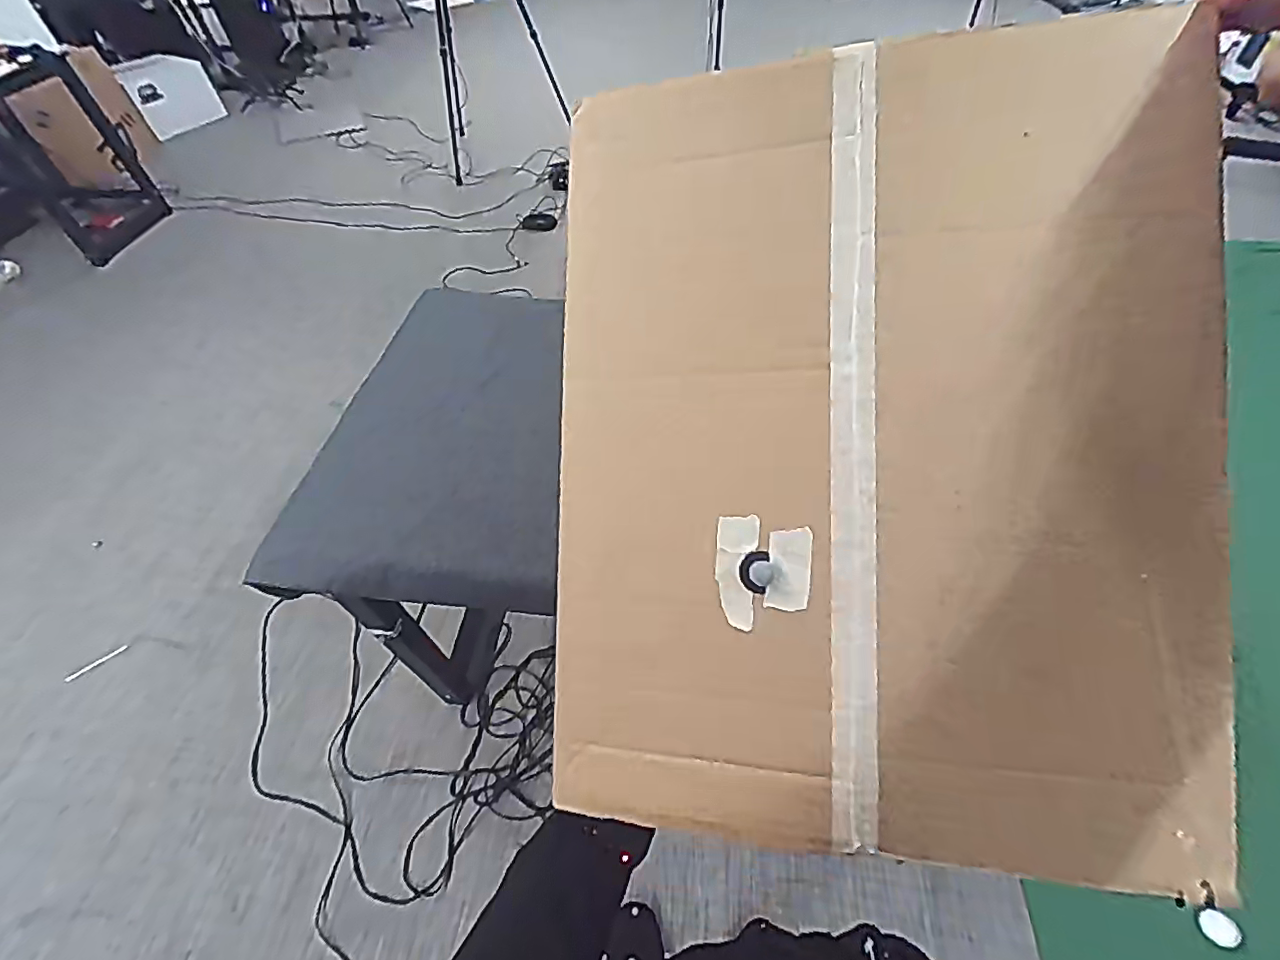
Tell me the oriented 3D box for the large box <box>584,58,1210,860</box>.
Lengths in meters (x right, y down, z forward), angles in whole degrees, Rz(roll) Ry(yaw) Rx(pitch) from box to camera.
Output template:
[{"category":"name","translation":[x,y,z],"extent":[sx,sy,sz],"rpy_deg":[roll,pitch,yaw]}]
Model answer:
[{"category":"large box","translation":[0.148,-0.010,0.438],"extent":[0.320,0.320,0.408],"rpy_deg":[0,88,12]}]
